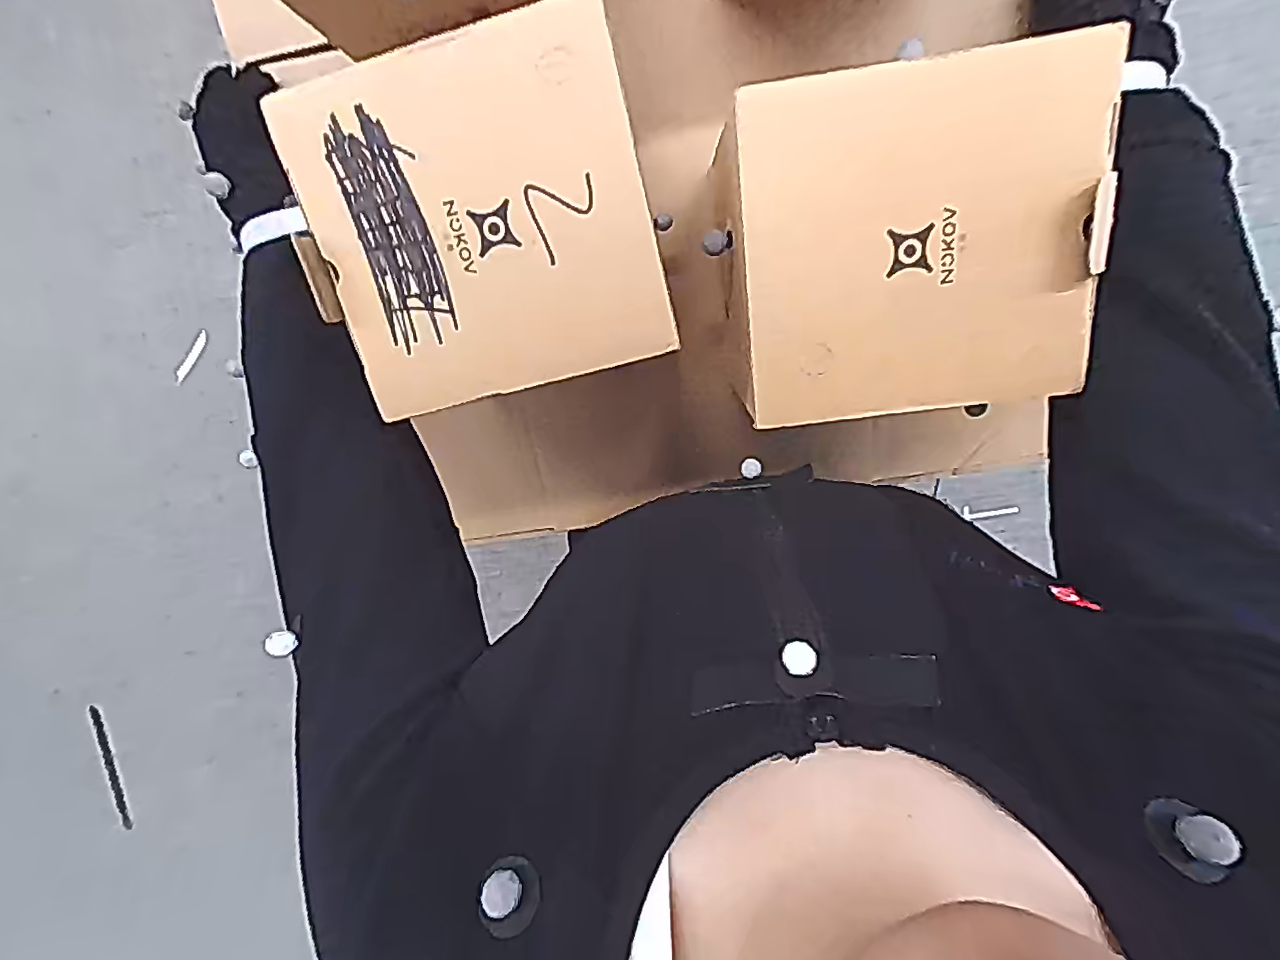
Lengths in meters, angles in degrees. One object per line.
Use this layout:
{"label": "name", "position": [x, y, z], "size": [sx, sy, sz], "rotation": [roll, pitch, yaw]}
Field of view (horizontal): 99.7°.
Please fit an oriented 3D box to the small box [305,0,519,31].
{"label": "small box", "position": [-0.152, -0.383, 0.286], "size": [0.168, 0.176, 0.179], "rotation": [-10, 106, 6]}
